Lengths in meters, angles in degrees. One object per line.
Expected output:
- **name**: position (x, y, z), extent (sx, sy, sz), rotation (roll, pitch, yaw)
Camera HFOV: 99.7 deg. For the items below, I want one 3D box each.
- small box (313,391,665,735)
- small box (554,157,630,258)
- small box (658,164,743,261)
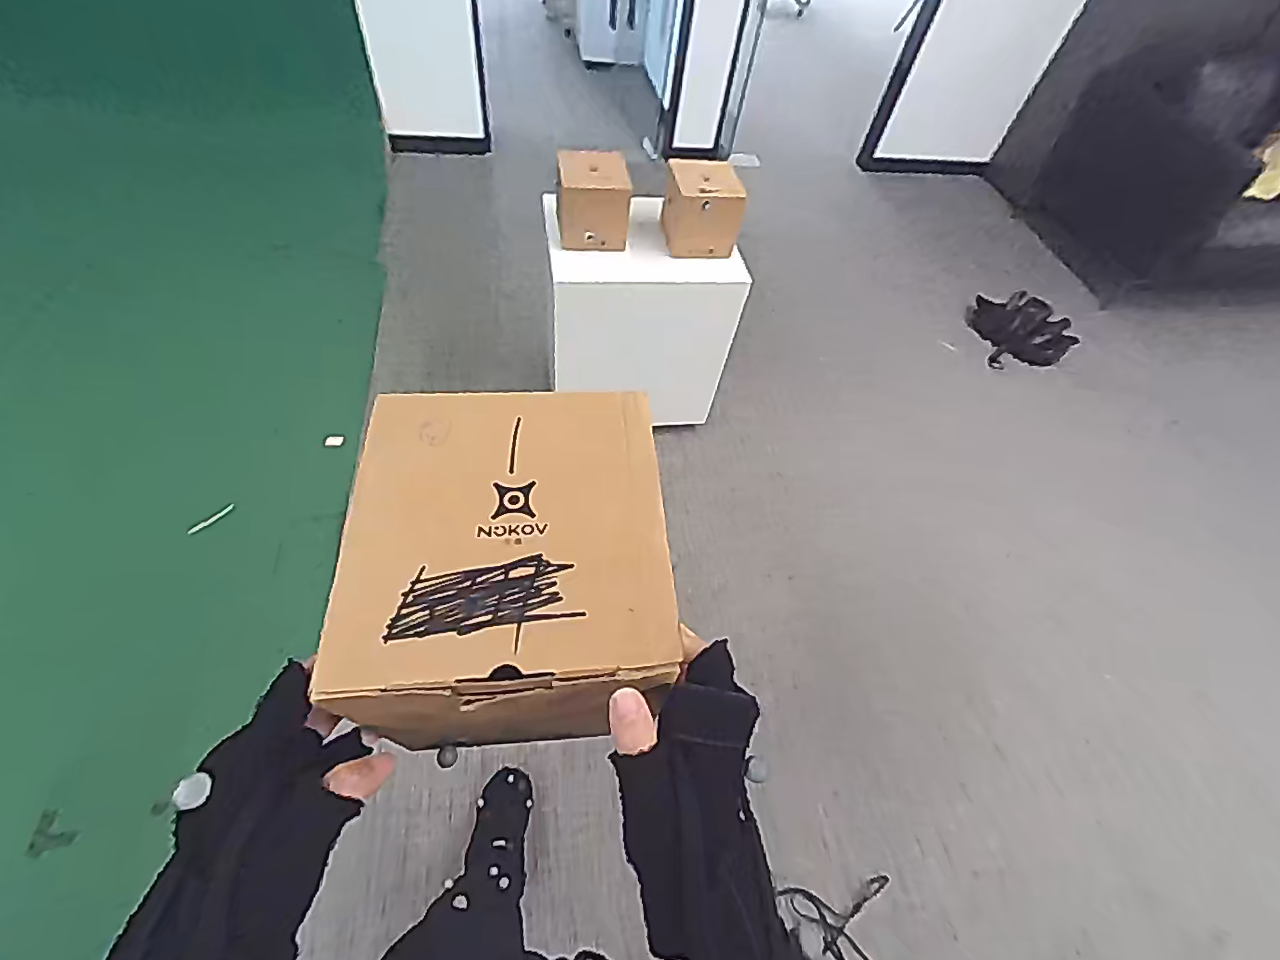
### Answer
- **small box**: position (-0.078, 0.063, 0.360), extent (0.168, 0.176, 0.179), rotation (-2, 56, -6)
- **small box**: position (-0.128, -0.688, 1.371), extent (0.168, 0.176, 0.179), rotation (-6, 58, -11)
- **small box**: position (0.148, -0.693, 1.407), extent (0.168, 0.176, 0.179), rotation (-6, 55, -10)
